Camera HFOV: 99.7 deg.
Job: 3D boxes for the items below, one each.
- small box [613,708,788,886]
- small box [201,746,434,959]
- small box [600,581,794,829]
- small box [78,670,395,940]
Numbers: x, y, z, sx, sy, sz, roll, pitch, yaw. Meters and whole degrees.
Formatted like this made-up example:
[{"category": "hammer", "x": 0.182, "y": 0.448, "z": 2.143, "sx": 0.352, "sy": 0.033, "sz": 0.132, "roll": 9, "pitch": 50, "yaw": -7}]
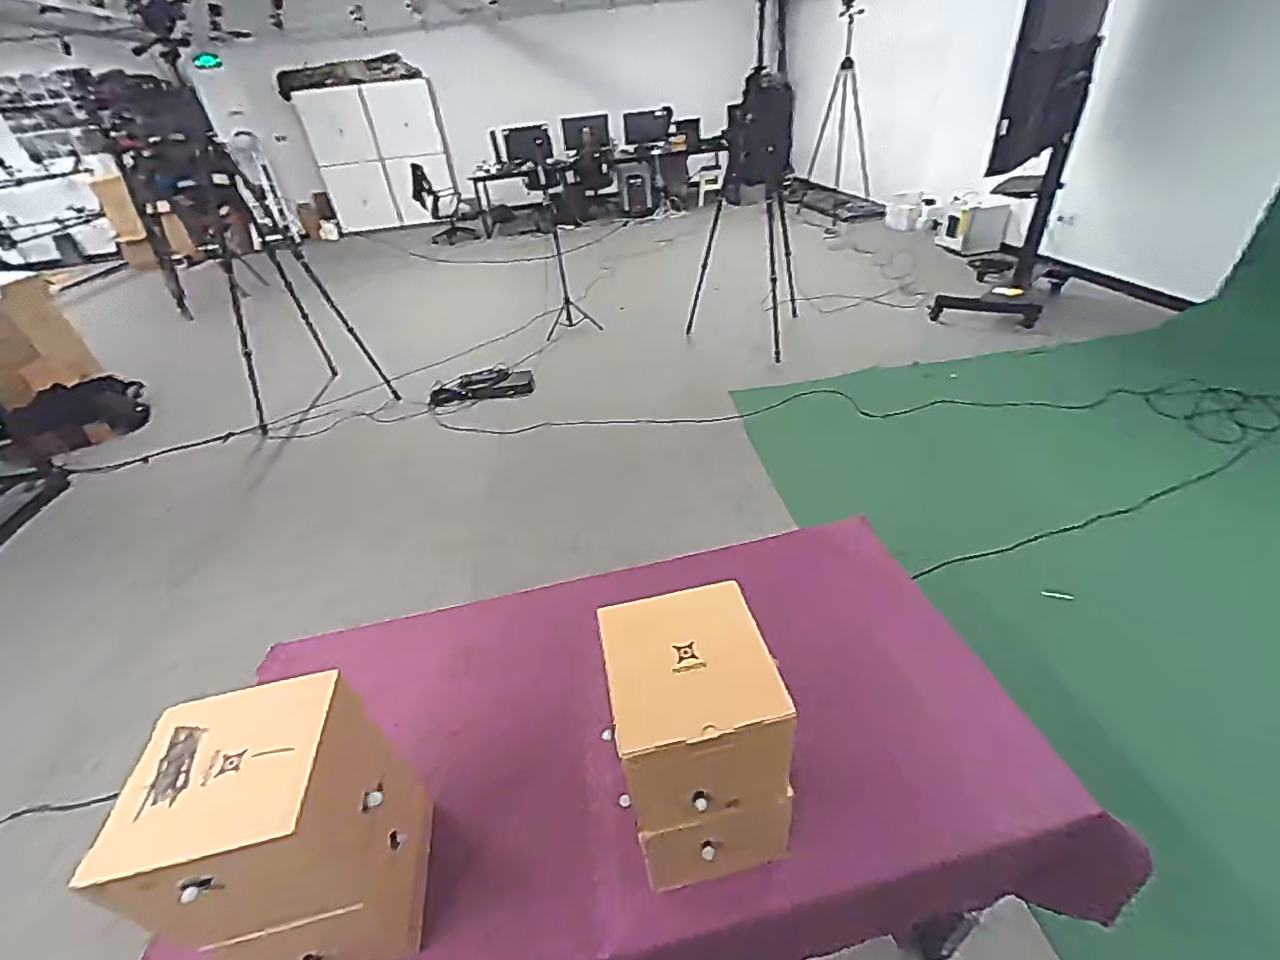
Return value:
[{"category": "small box", "x": 0.075, "y": 0.380, "z": 0.691, "sx": 0.179, "sy": 0.176, "sz": 0.168, "roll": -13, "pitch": 36, "yaw": -6}, {"category": "small box", "x": -0.363, "y": 0.463, "z": 0.653, "sx": 0.168, "sy": 0.176, "sz": 0.179, "roll": -11, "pitch": 36, "yaw": -6}, {"category": "small box", "x": 0.054, "y": 0.245, "z": 0.601, "sx": 0.168, "sy": 0.176, "sz": 0.179, "roll": -11, "pitch": 36, "yaw": -6}, {"category": "small box", "x": -0.380, "y": 0.331, "z": 0.556, "sx": 0.179, "sy": 0.176, "sz": 0.168, "roll": -11, "pitch": 36, "yaw": -7}]
